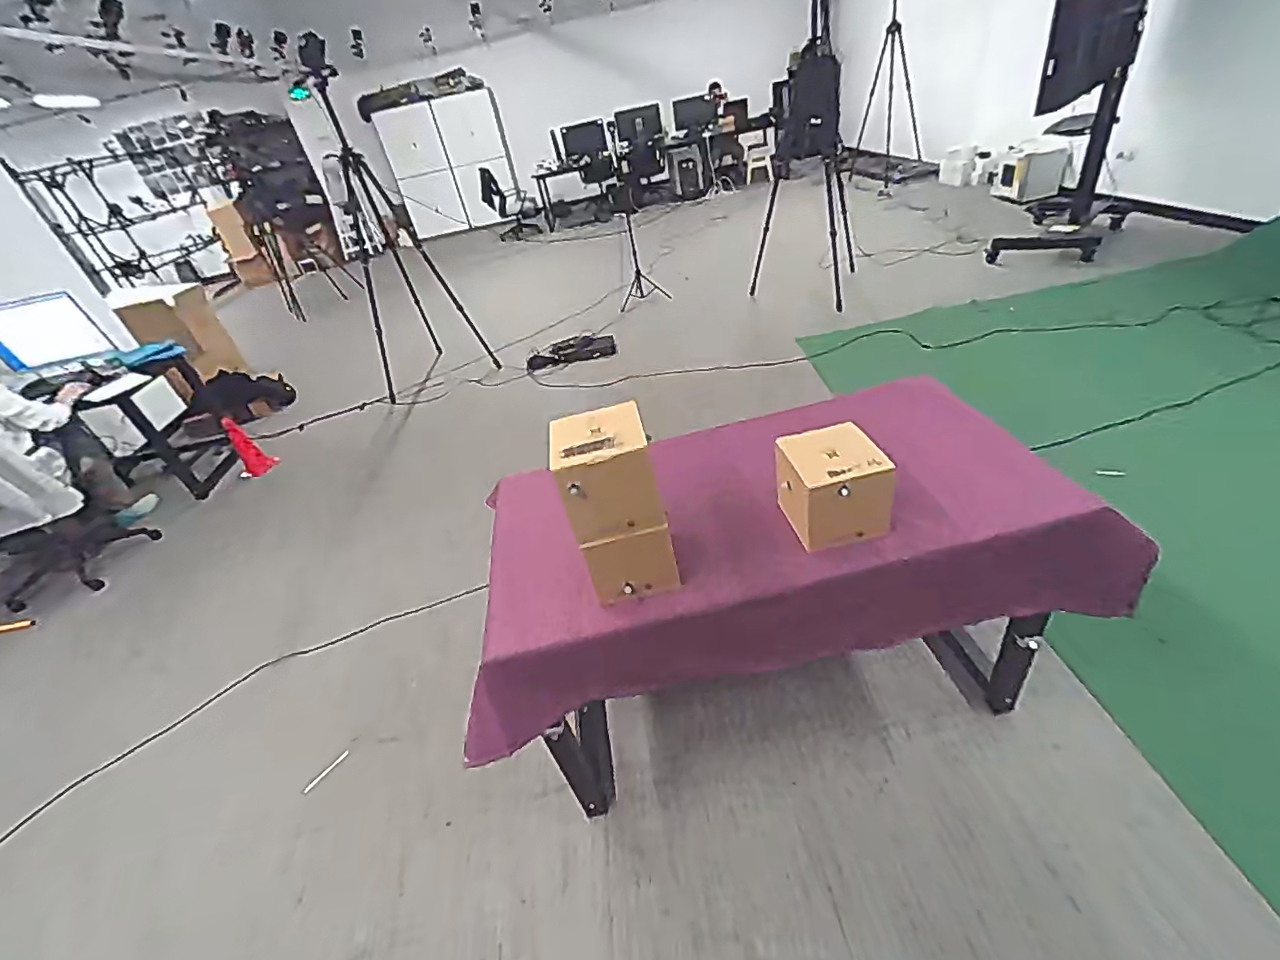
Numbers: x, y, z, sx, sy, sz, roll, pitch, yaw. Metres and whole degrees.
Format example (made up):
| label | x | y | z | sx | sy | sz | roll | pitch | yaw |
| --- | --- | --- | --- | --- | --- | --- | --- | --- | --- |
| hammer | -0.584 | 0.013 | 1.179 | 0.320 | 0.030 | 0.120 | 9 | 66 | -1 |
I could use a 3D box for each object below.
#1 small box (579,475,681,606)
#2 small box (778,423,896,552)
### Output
| label | x | y | z | sx | sy | sz | roll | pitch | yaw |
| --- | --- | --- | --- | --- | --- | --- | --- | --- | --- |
| small box | -0.022 | 0.119 | 1.074 | 0.168 | 0.176 | 0.179 | -14 | 36 | 1 |
| small box | 0.385 | 0.014 | 1.081 | 0.168 | 0.176 | 0.179 | -15 | 35 | 0 |
